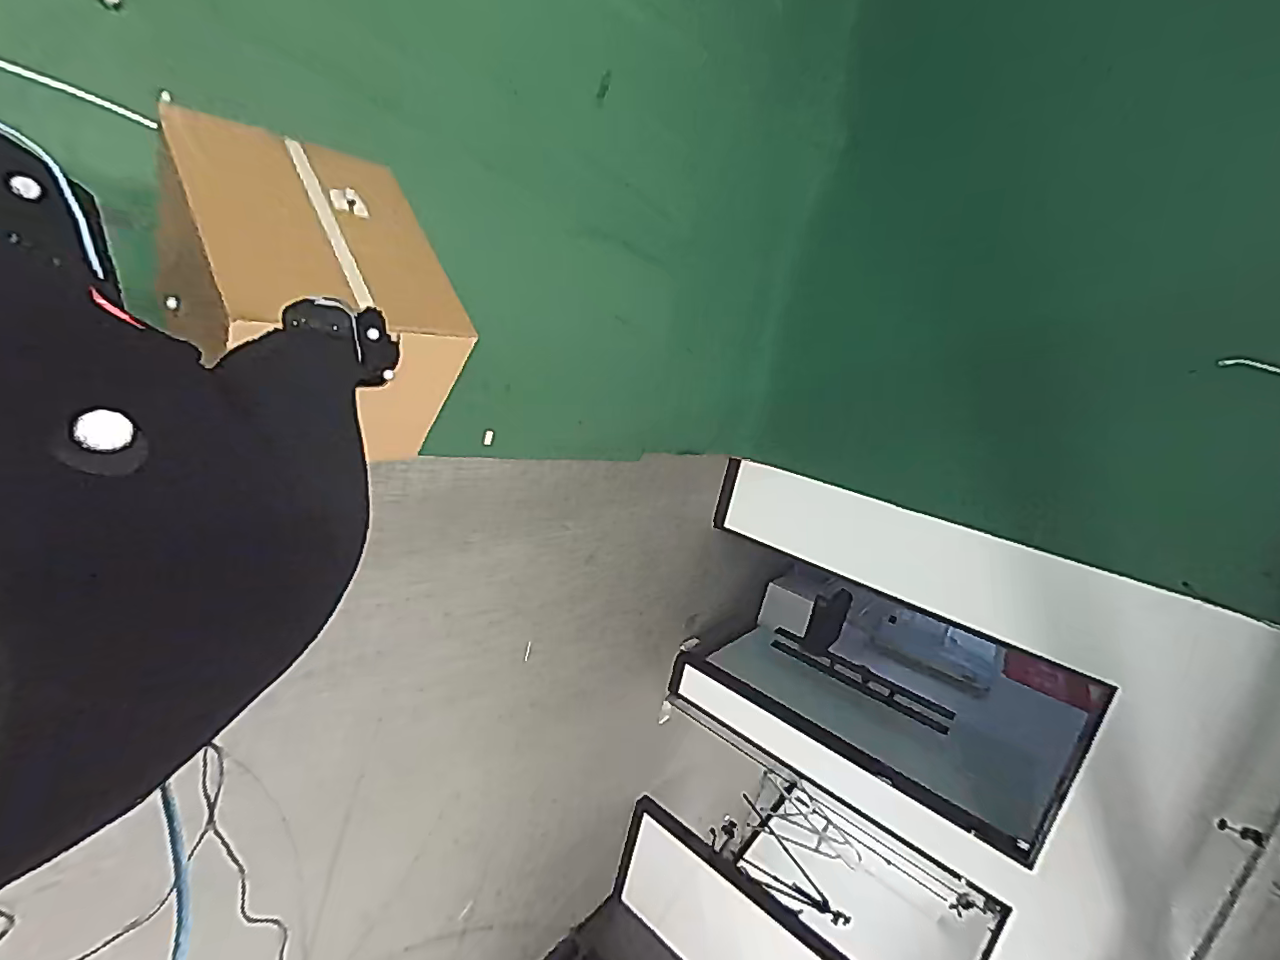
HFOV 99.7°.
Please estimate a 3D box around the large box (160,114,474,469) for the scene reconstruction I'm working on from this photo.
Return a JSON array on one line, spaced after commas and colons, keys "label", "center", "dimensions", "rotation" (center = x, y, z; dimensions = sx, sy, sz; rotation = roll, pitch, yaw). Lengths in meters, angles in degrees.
[{"label": "large box", "center": [-0.536, -0.278, 0.880], "dimensions": [0.320, 0.408, 0.320], "rotation": [-11, 154, -47]}]
